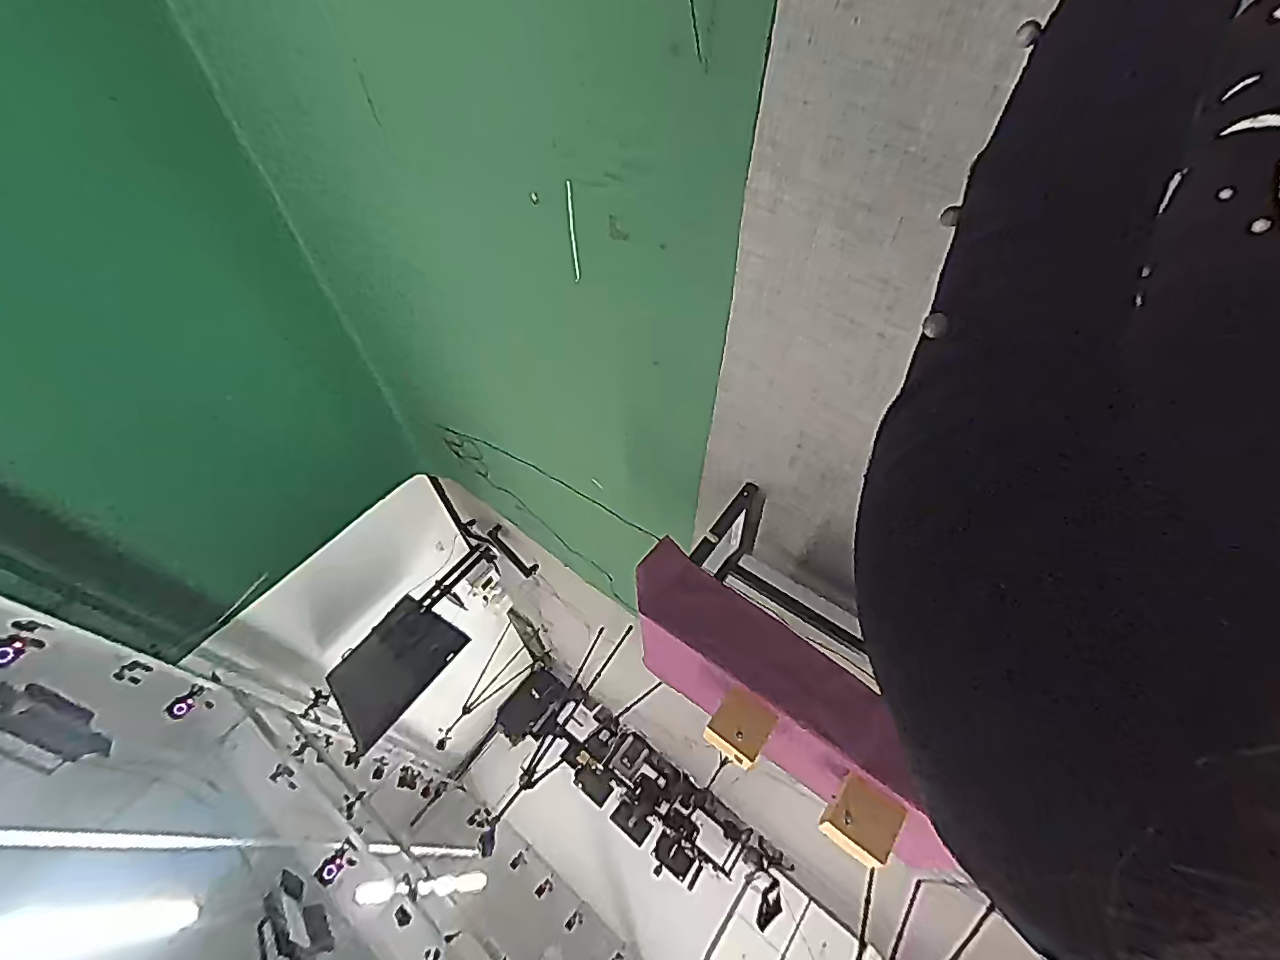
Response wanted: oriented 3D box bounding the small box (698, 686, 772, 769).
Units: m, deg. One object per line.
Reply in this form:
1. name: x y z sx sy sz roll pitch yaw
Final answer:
1. small box: 0.316 0.821 1.798 0.179 0.176 0.168 32 151 22

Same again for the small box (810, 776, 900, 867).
1. small box: 0.650 1.029 1.642 0.179 0.176 0.168 31 151 24
